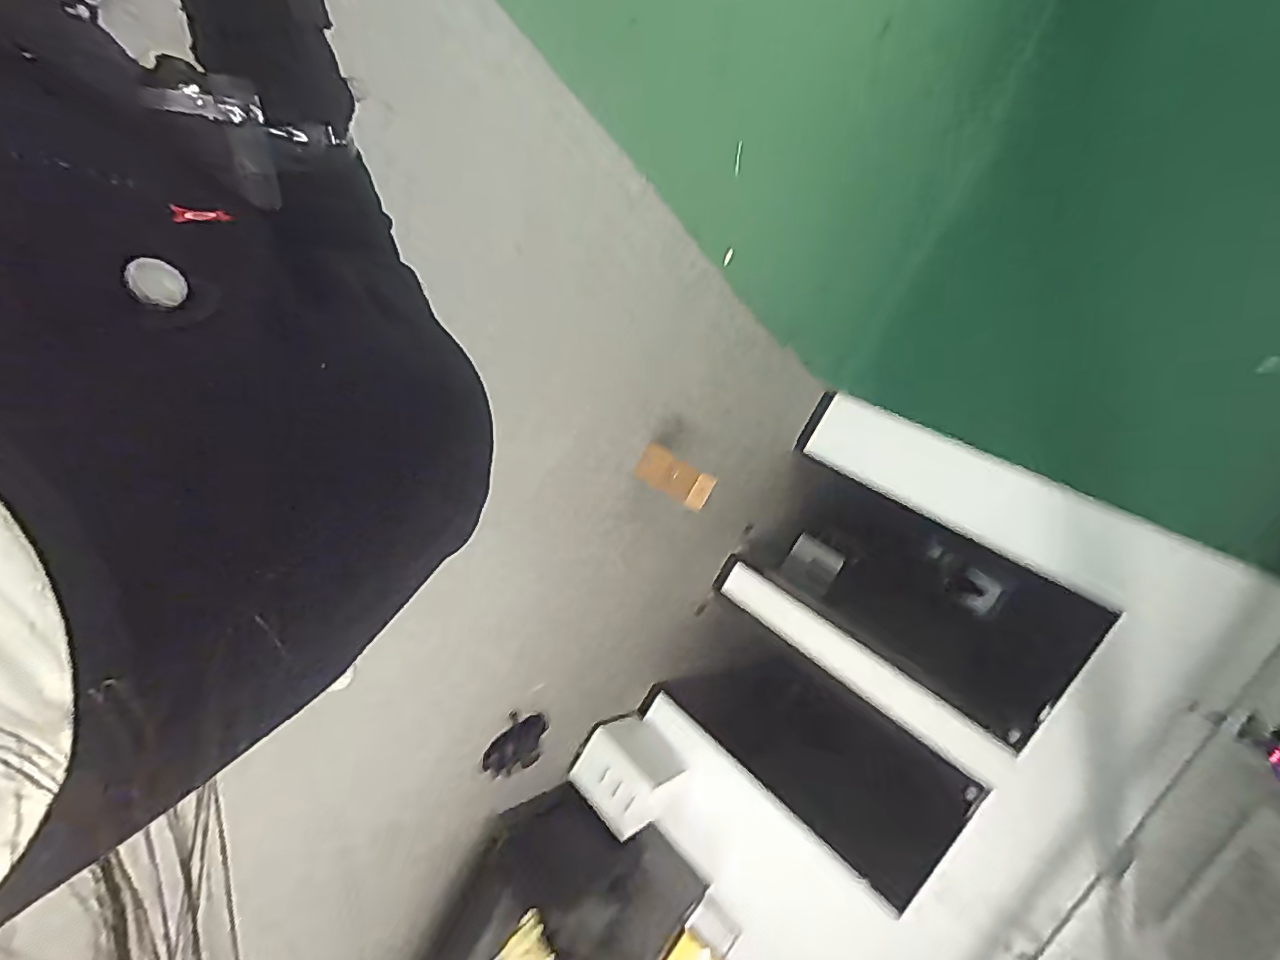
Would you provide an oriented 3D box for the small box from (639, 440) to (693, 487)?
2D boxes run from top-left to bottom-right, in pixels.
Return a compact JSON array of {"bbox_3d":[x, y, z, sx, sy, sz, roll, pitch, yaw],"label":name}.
[{"bbox_3d":[0.121,-0.068,2.621,0.179,0.176,0.168,-59,147,6],"label":"small box"}]

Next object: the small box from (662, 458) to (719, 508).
[{"bbox_3d":[0.235,0.012,2.536,0.179,0.176,0.168,20,101,-55],"label":"small box"}]
